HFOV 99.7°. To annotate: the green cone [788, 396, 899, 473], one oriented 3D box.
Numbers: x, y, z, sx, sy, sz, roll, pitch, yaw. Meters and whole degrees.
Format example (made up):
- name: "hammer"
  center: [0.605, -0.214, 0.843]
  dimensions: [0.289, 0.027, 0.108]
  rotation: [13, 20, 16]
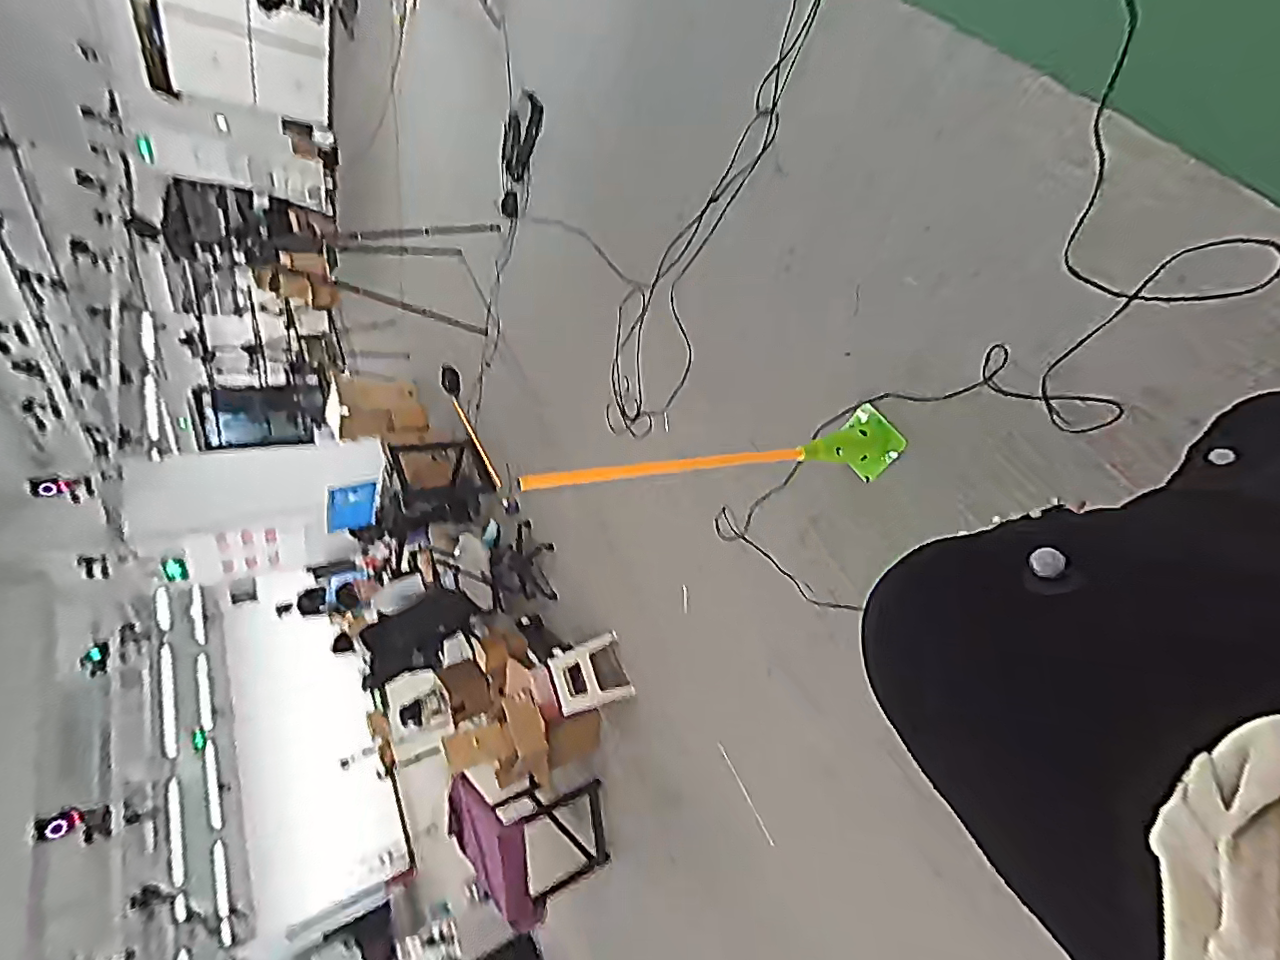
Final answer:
- name: "green cone"
  center: [0.602, -0.130, 1.703]
  dimensions: [0.202, 0.368, 0.200]
  rotation: [59, 139, 30]
